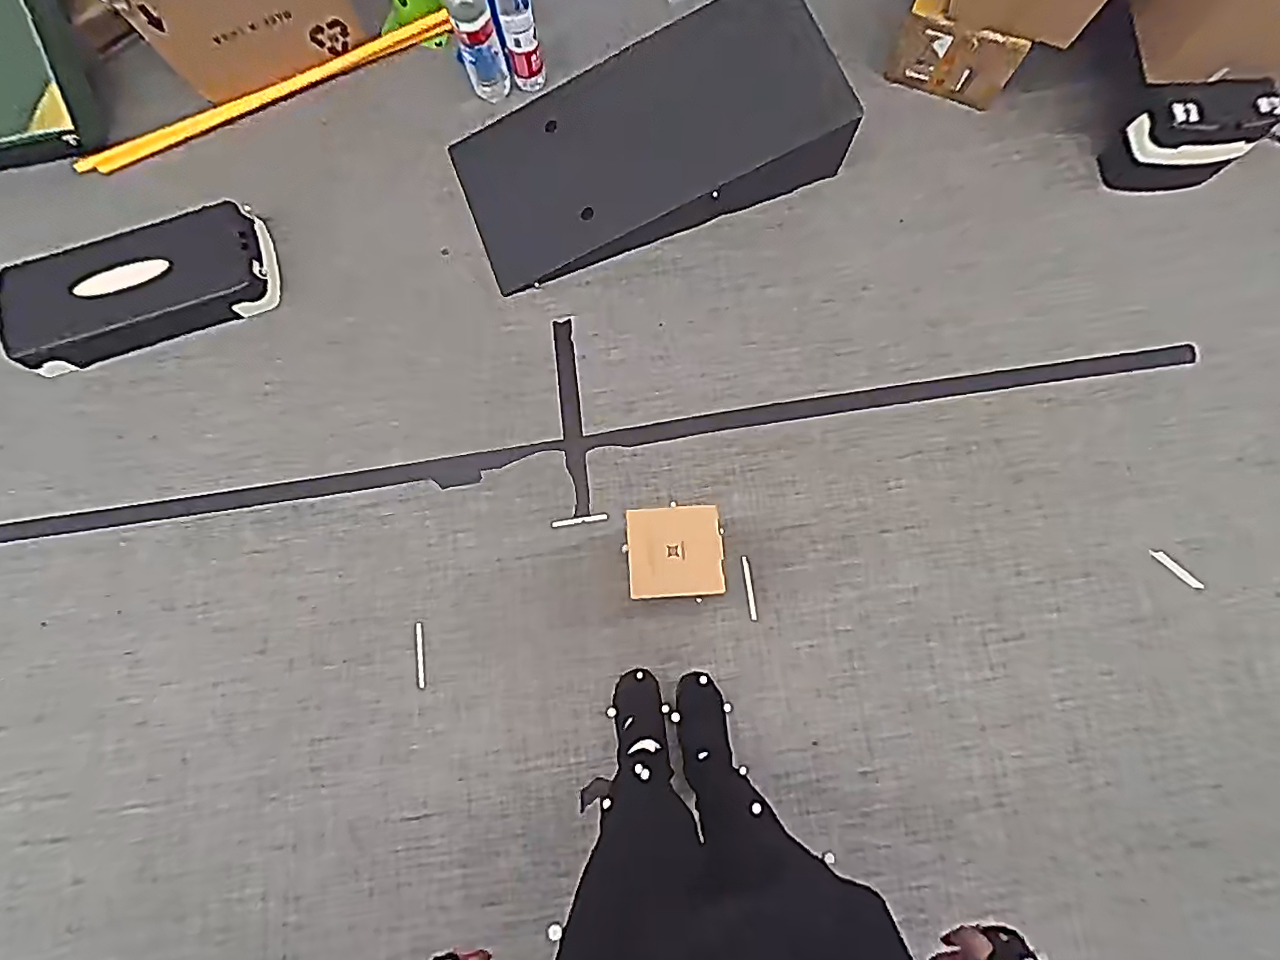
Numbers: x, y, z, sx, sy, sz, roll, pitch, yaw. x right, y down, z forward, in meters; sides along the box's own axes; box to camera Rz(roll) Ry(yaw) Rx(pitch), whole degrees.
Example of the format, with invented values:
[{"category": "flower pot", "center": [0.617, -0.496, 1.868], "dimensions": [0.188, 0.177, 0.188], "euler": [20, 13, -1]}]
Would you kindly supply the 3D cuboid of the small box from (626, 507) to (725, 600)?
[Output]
[{"category": "small box", "center": [0.064, 0.146, 1.059], "dimensions": [0.179, 0.176, 0.168], "euler": [-3, 79, 1]}]
